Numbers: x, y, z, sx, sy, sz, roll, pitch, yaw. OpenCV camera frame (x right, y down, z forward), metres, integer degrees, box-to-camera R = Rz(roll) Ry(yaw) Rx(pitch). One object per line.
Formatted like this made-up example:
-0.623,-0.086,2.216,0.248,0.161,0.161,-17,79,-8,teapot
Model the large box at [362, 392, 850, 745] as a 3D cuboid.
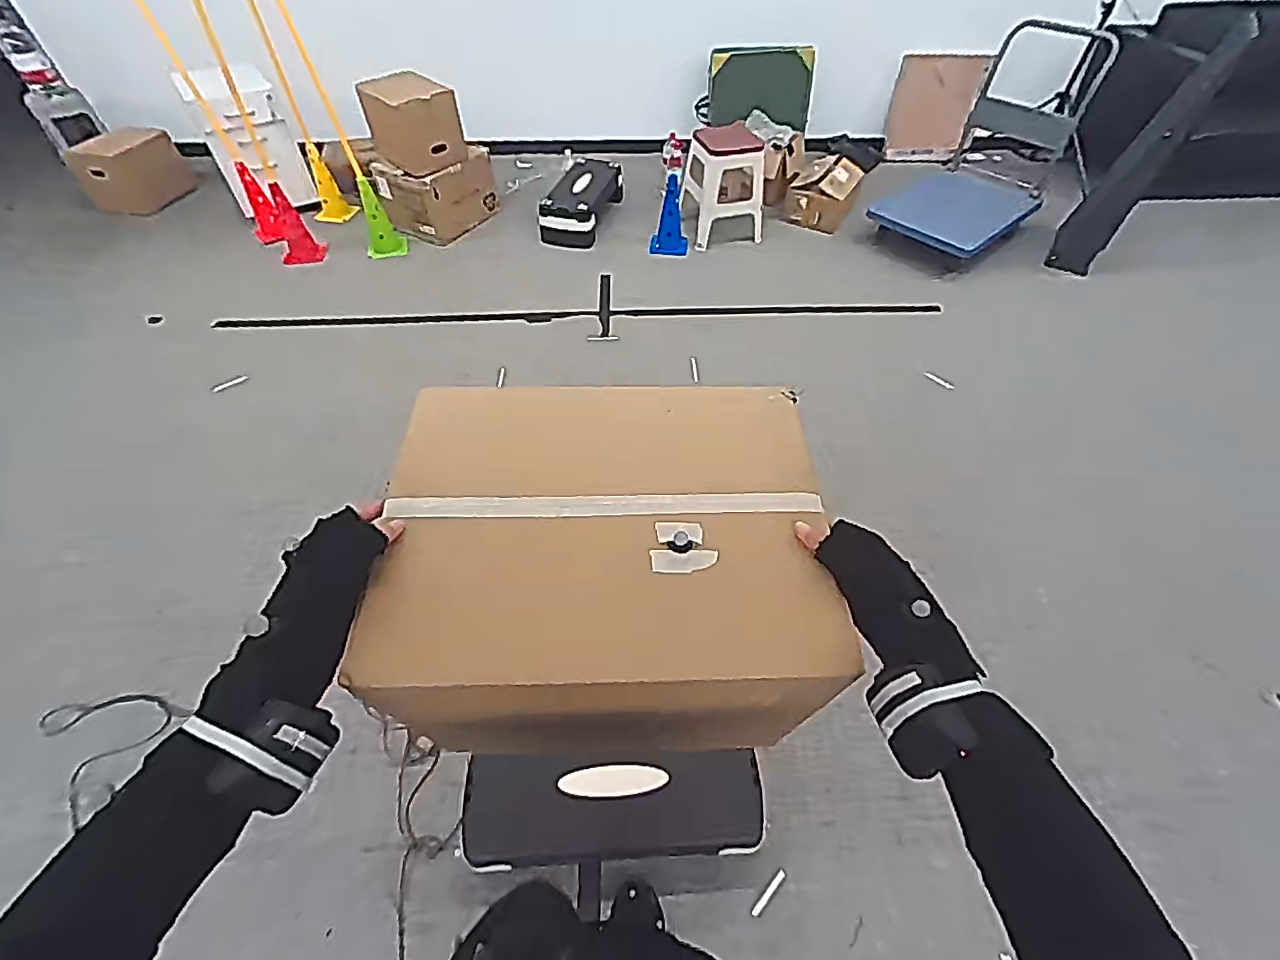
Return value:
-0.034,0.112,0.639,0.408,0.320,0.320,0,55,-2,large box
